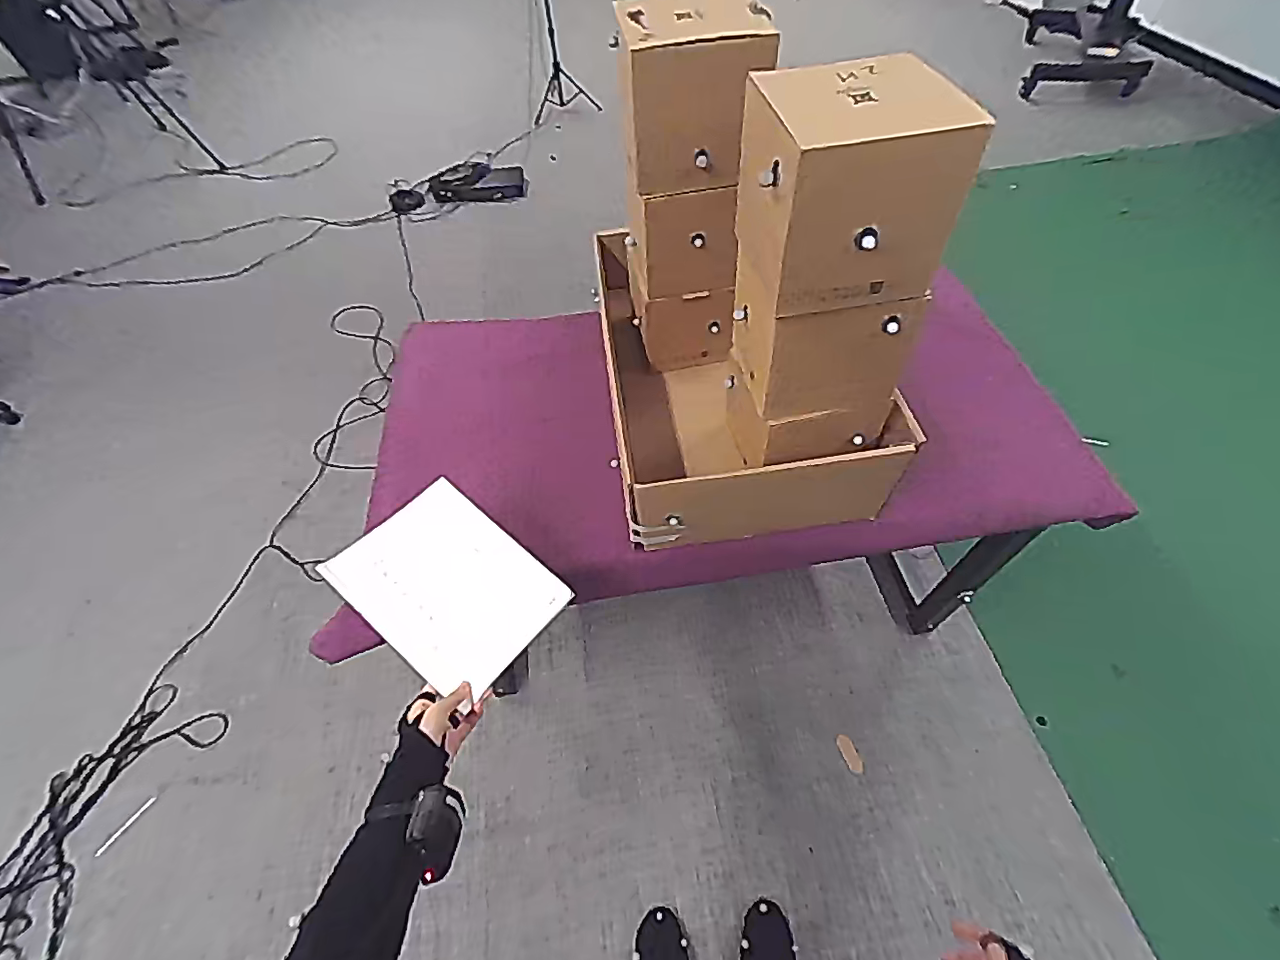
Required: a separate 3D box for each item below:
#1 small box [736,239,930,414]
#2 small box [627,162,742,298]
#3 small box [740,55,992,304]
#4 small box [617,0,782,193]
[{"bbox_3d":[0.223,-0.201,0.688,0.179,0.176,0.168,-8,53,-2],"label":"small box"},{"bbox_3d":[0.078,-0.414,0.852,0.179,0.176,0.168,-10,56,-3],"label":"small box"},{"bbox_3d":[0.206,-0.298,0.555,0.168,0.176,0.179,-8,53,-2],"label":"small box"},{"bbox_3d":[0.067,-0.509,0.719,0.179,0.176,0.168,-8,55,-3],"label":"small box"}]
